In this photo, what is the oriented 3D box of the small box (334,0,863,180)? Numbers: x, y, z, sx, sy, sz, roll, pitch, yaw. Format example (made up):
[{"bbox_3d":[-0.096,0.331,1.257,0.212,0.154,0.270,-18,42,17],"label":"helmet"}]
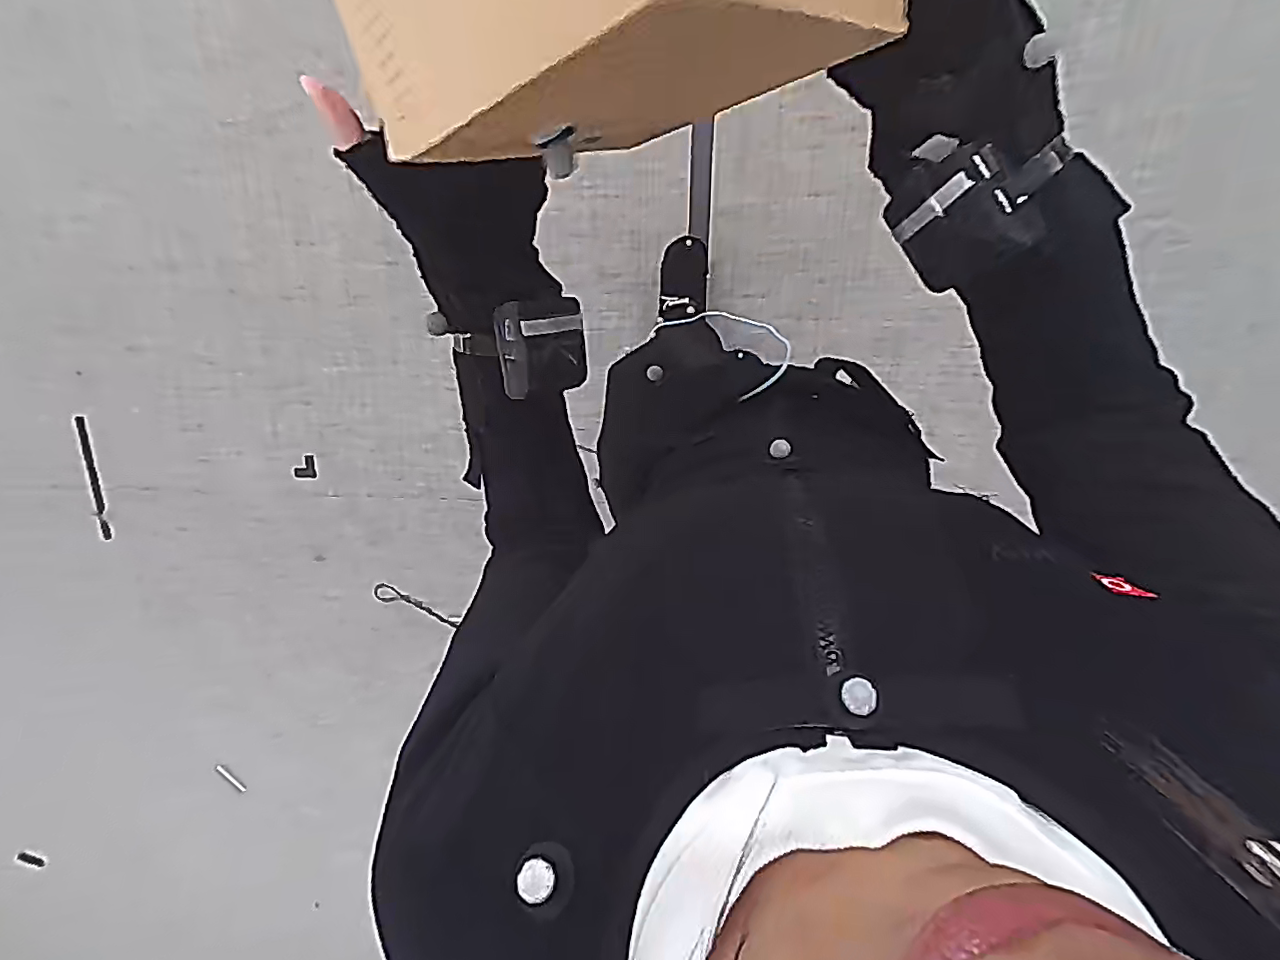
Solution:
[{"bbox_3d":[-0.029,-0.248,0.225,0.176,0.168,0.179,11,123,45],"label":"small box"}]
